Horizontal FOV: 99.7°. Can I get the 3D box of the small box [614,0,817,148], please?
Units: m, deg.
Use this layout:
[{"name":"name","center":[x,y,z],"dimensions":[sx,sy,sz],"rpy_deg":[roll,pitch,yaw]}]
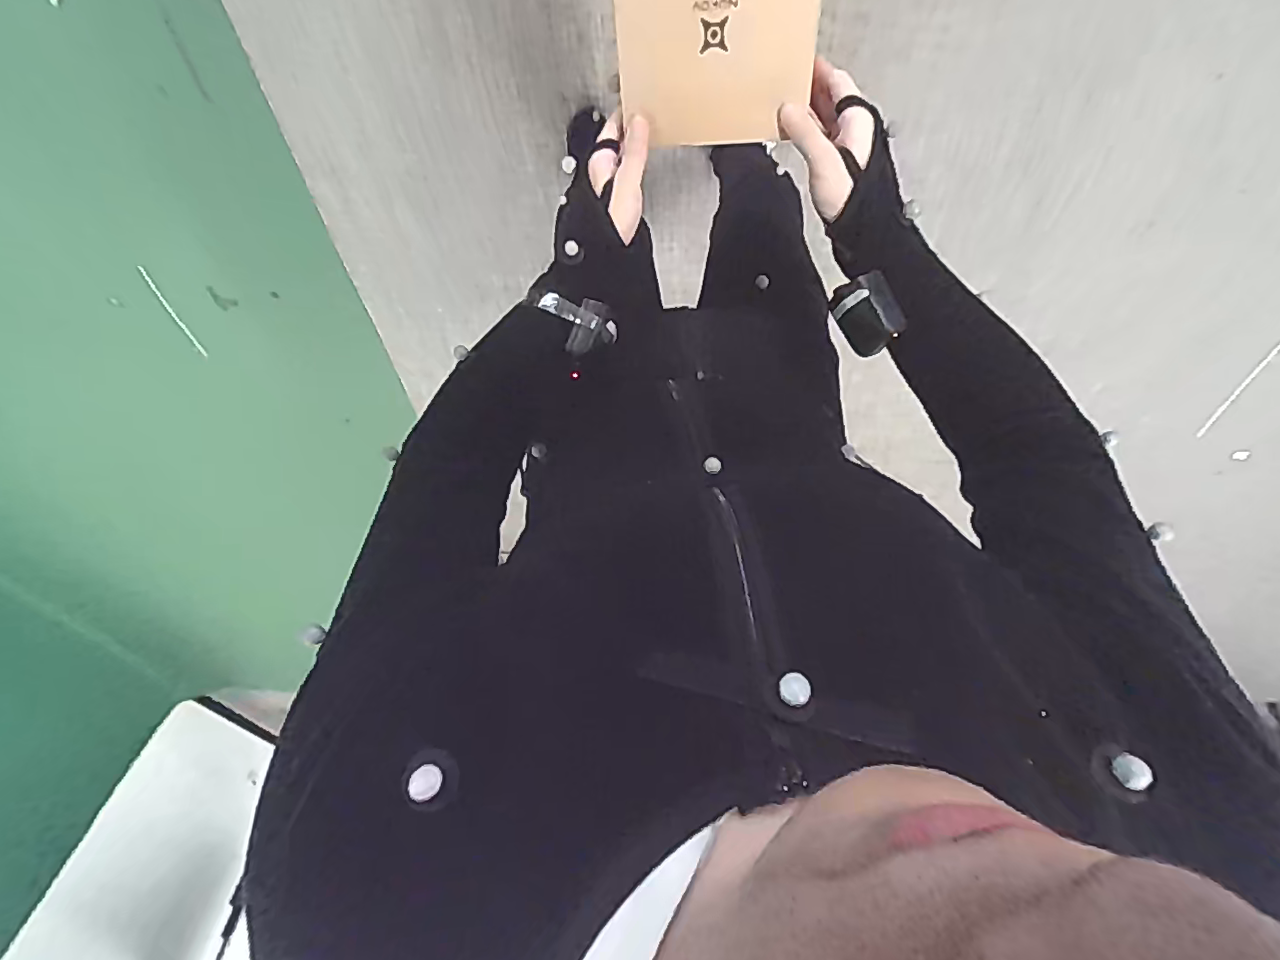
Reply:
[{"name":"small box","center":[0.070,-0.428,0.500],"dimensions":[0.168,0.176,0.179],"rpy_deg":[1,132,7]}]
